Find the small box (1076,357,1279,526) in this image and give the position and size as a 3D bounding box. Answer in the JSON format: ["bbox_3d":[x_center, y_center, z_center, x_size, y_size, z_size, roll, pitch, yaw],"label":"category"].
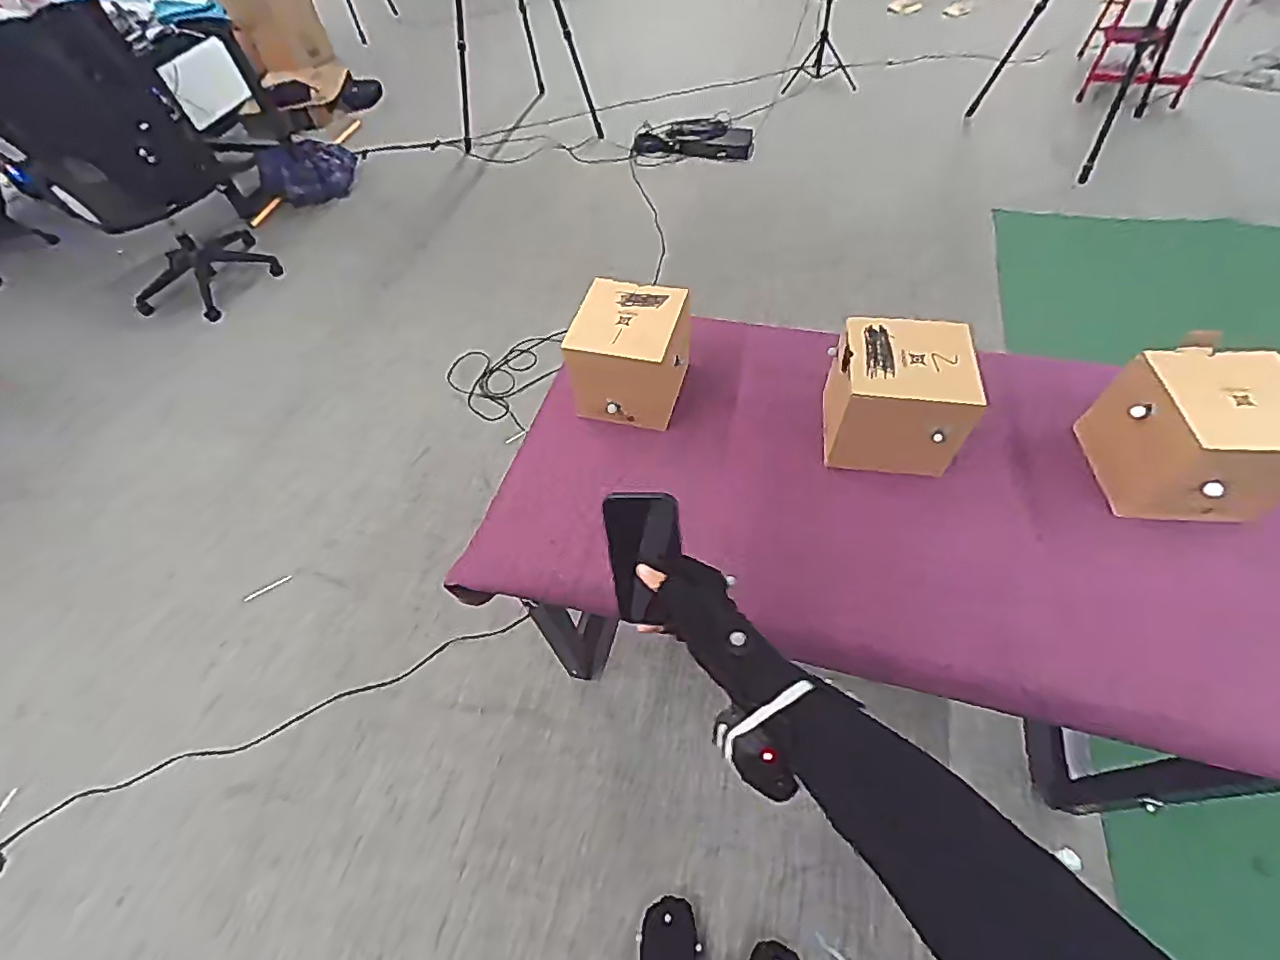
[{"bbox_3d":[0.763,-0.049,0.750,0.168,0.176,0.179,2,54,7],"label":"small box"}]

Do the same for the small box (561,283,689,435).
[{"bbox_3d":[-0.016,-0.205,0.925,0.168,0.176,0.179,12,58,13],"label":"small box"}]
